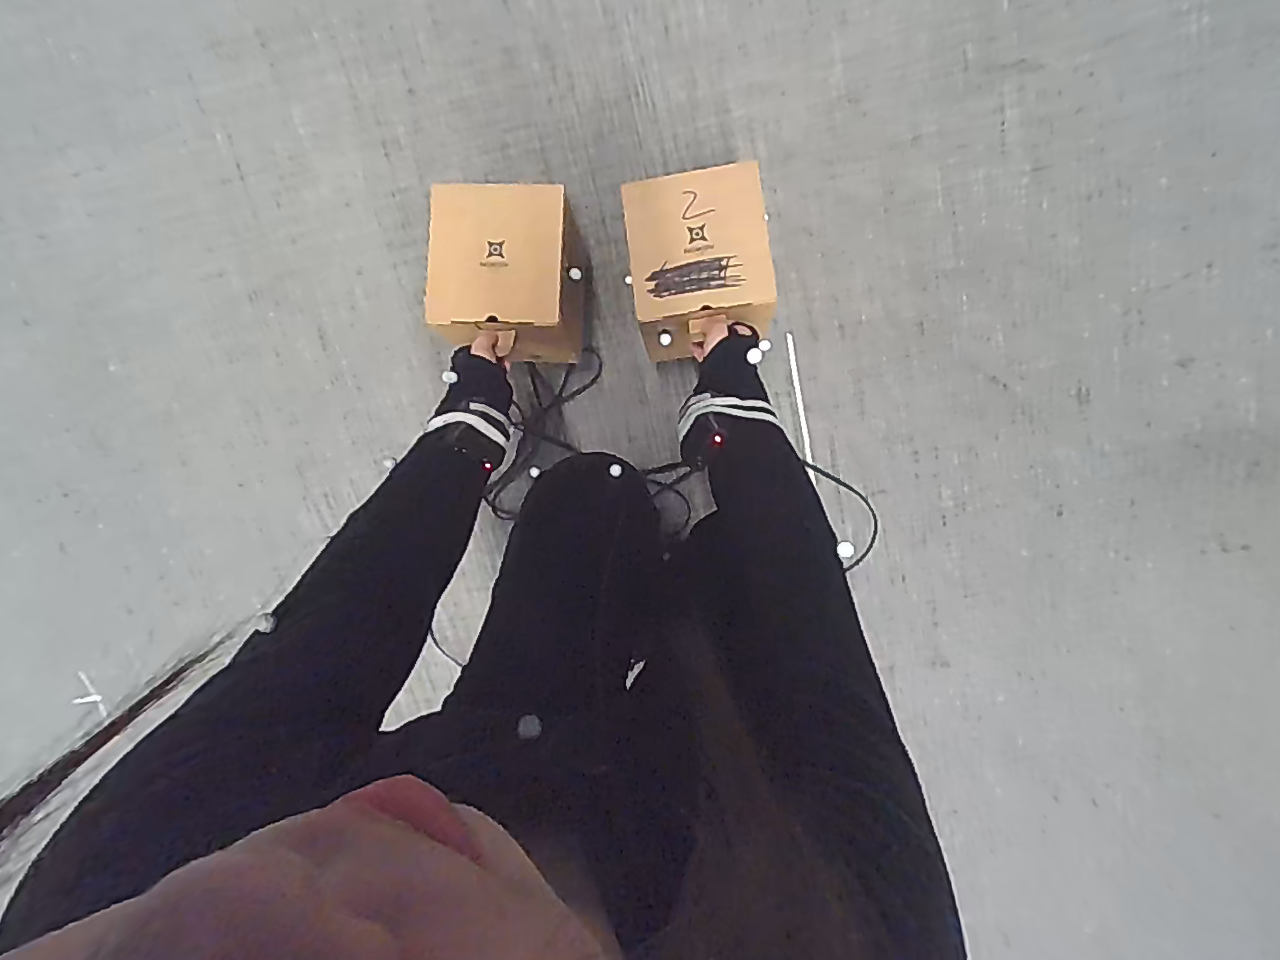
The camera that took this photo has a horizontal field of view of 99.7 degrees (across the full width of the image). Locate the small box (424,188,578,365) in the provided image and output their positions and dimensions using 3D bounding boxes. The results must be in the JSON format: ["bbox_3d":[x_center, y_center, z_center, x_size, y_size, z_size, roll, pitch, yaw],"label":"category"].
[{"bbox_3d":[-0.179,-0.270,0.748,0.168,0.176,0.179,2,88,2],"label":"small box"}]
